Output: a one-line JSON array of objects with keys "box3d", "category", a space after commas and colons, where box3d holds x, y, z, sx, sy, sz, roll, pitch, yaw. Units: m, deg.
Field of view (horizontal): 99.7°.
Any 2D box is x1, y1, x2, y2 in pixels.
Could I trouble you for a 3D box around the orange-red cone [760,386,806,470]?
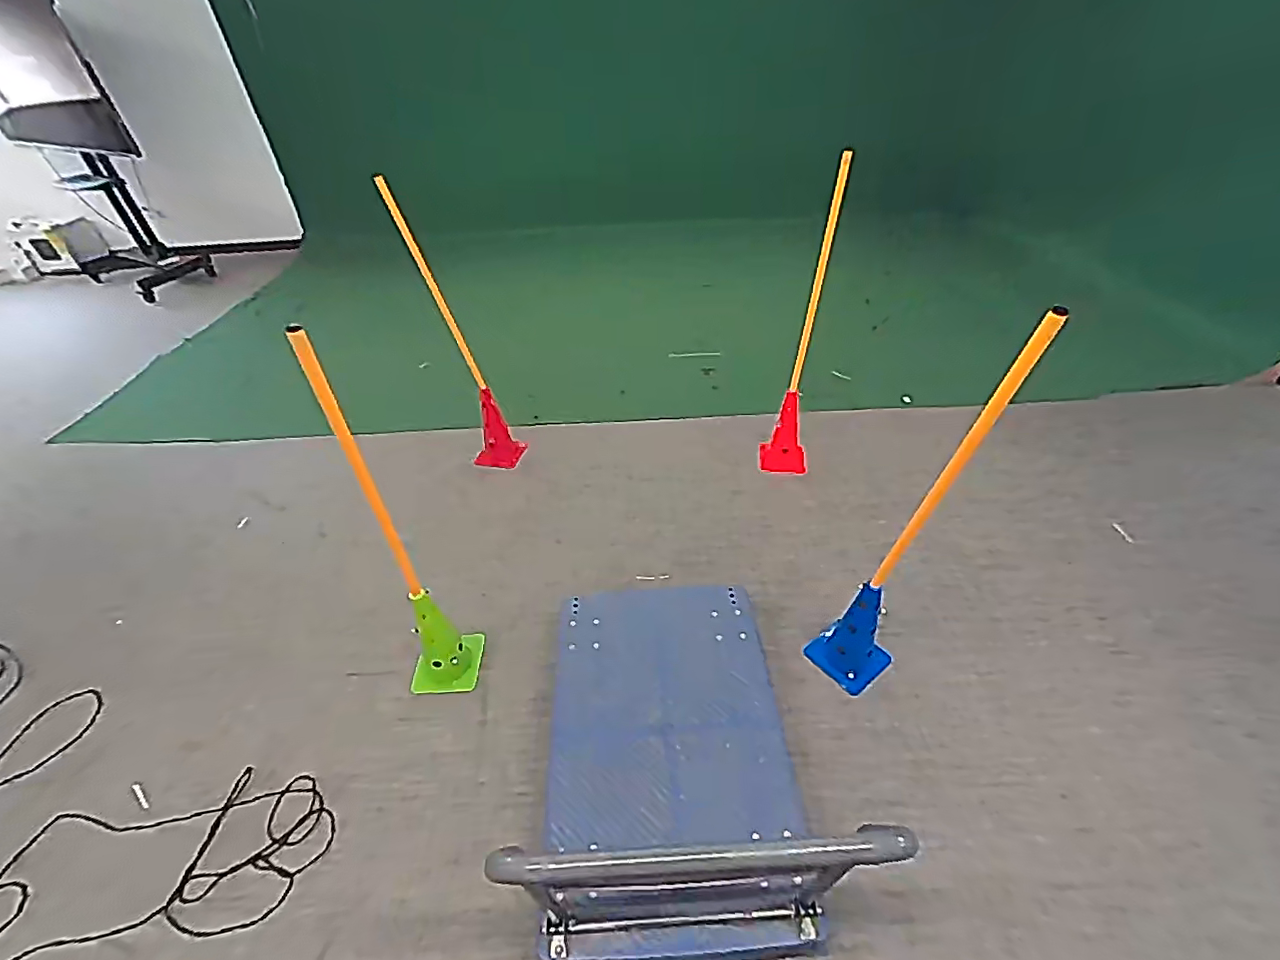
[{"box3d": [0.627, -0.238, 2.301, 0.198, 0.360, 0.199, 4, 42, 10], "category": "orange-red cone"}]
